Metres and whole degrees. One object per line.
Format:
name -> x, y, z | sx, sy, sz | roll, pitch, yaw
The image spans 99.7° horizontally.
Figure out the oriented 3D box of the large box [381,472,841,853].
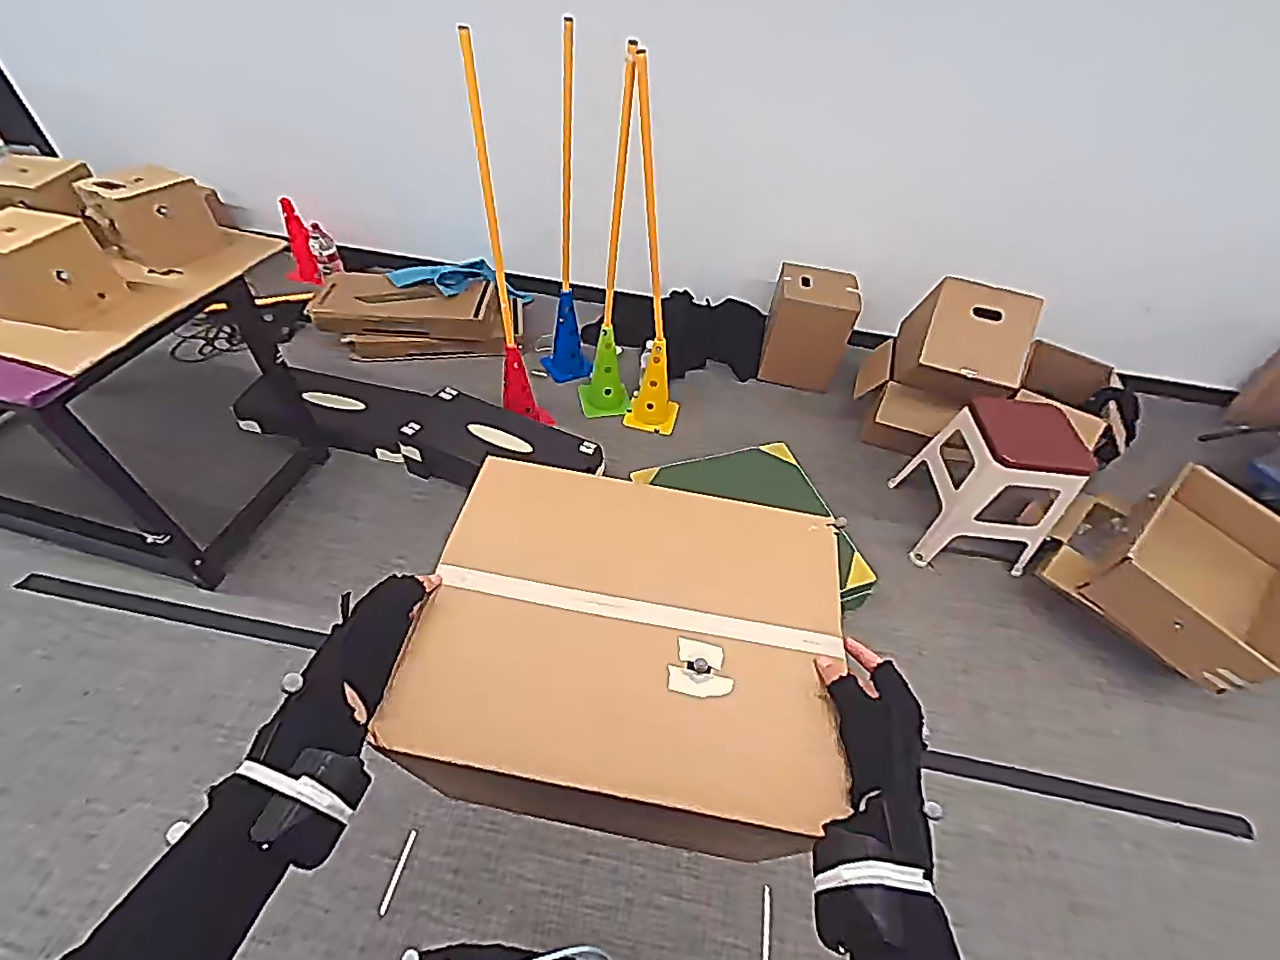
large box -> -0.019, 0.229, 0.660 | 0.408, 0.320, 0.320 | 11, 53, 2
